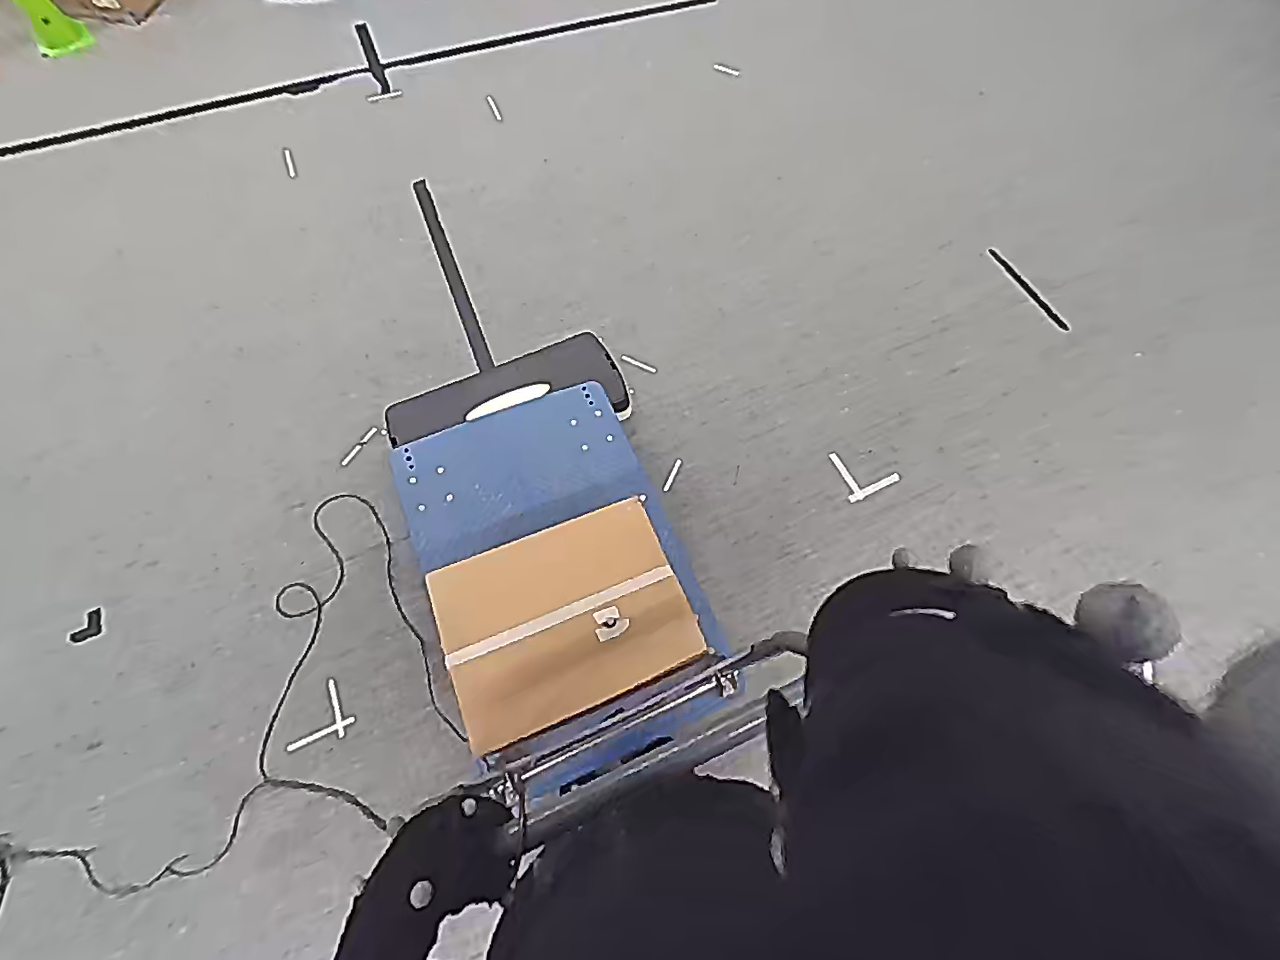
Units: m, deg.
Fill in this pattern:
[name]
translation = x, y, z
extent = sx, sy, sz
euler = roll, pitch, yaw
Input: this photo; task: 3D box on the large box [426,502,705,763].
[large box]
translation = -0.137, 0.299, 1.049
extent = 0.408, 0.320, 0.320
euler = -21, 69, -12
